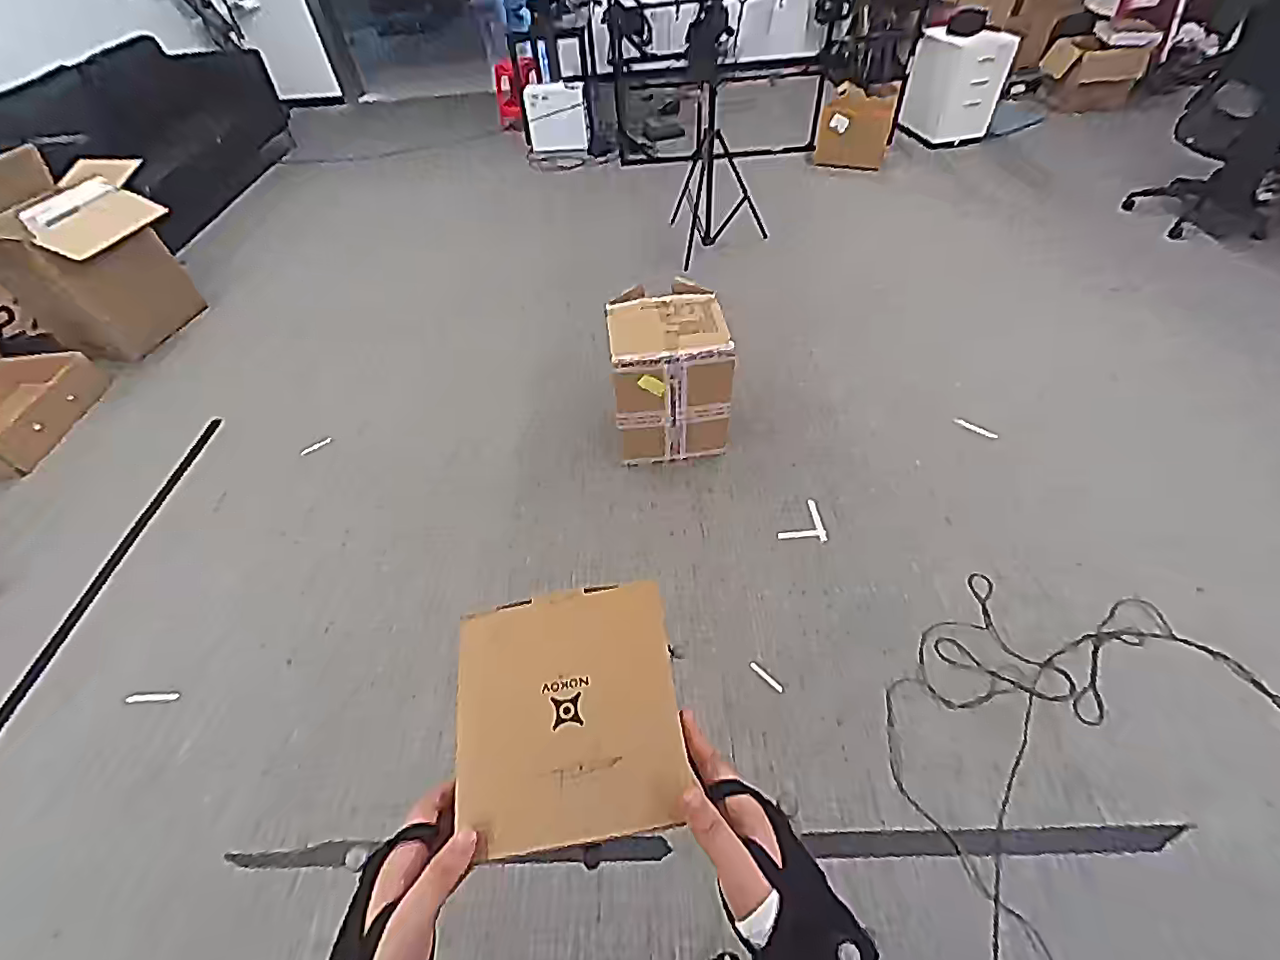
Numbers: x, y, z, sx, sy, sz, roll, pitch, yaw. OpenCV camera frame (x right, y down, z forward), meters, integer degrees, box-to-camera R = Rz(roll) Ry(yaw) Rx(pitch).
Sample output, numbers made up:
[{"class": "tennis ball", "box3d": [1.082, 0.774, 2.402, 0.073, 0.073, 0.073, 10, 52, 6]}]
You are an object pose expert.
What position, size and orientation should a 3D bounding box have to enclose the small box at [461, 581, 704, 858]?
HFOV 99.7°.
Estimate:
[{"class": "small box", "box3d": [-0.044, 0.212, 0.471, 0.168, 0.176, 0.179, -10, 56, -1]}]
